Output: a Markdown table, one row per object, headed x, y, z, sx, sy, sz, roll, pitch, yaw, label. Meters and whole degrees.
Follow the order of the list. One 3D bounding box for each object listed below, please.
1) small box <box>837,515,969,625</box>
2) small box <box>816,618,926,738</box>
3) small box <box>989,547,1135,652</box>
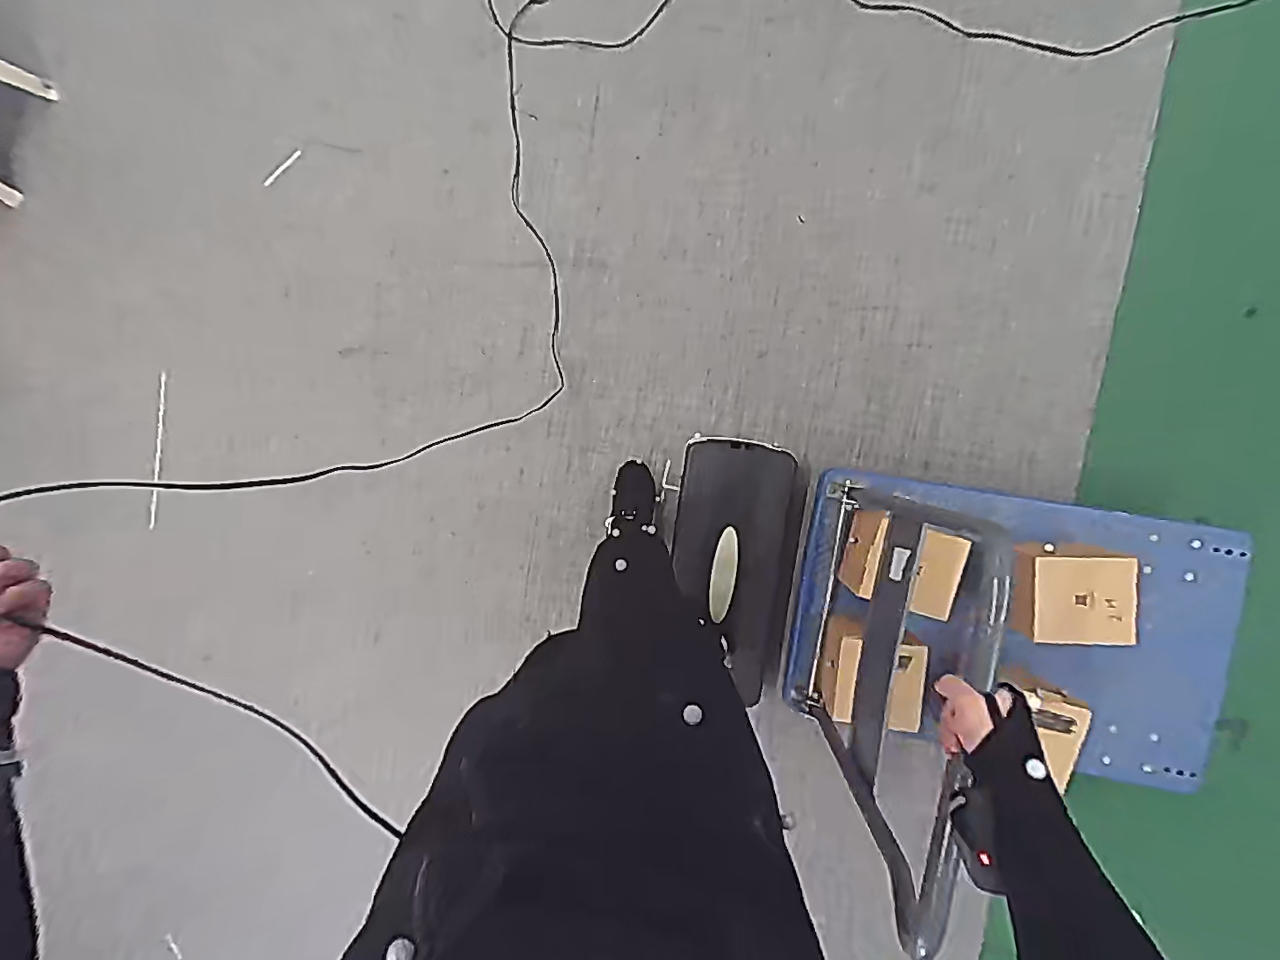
| x | y | z | sx | sy | sz | roll | pitch | yaw | label |
| --- | --- | --- | --- | --- | --- | --- | --- | --- | --- |
| 0.533 | 0.176 | 1.123 | 0.179 | 0.176 | 0.168 | 16 | 95 | 7 | small box |
| 0.475 | 0.405 | 1.137 | 0.168 | 0.176 | 0.179 | 6 | 94 | 8 | small box |
| 0.831 | 0.231 | 1.083 | 0.179 | 0.176 | 0.168 | 1 | 93 | 8 | small box |
